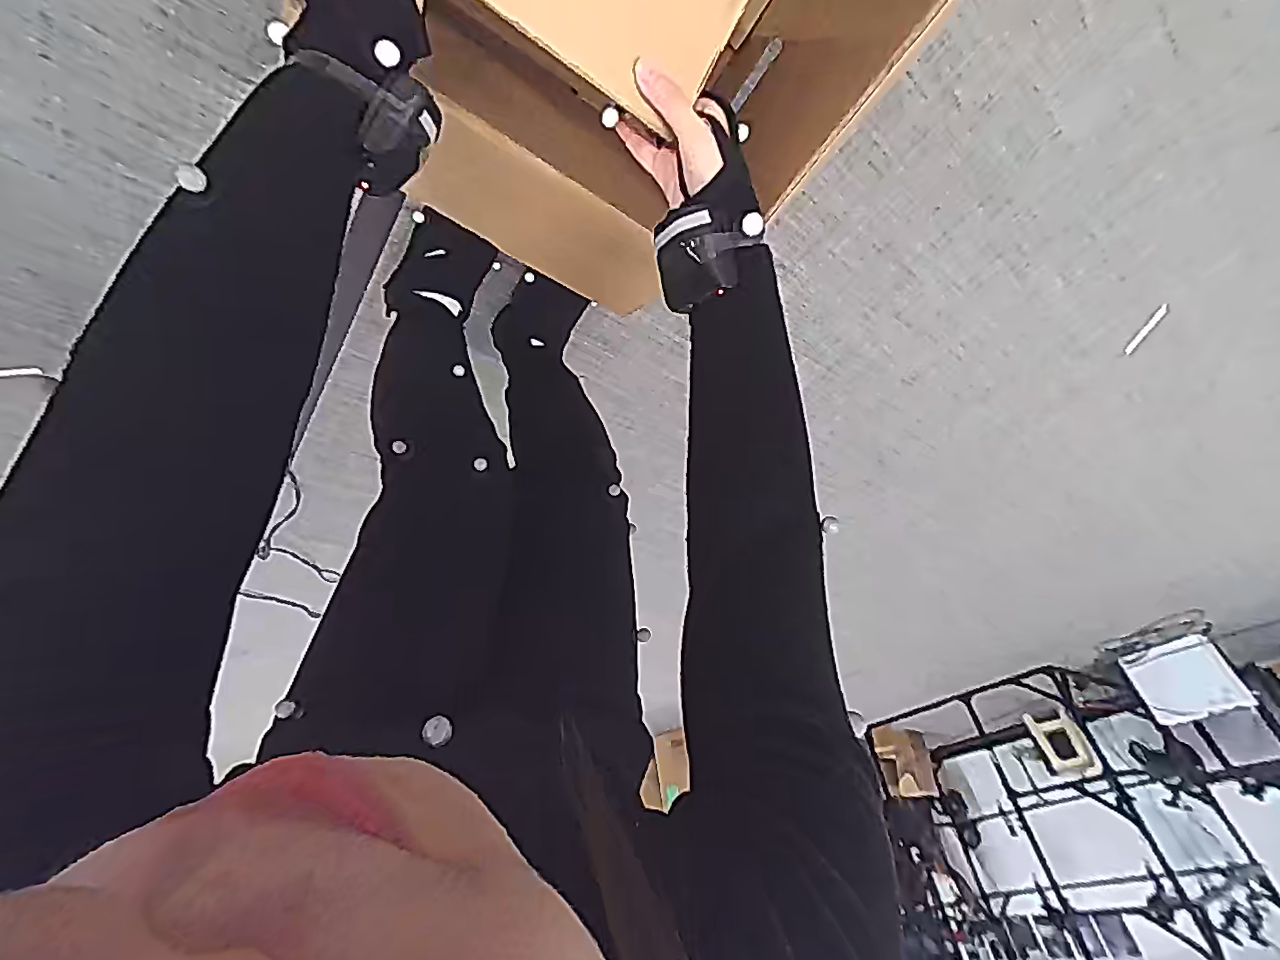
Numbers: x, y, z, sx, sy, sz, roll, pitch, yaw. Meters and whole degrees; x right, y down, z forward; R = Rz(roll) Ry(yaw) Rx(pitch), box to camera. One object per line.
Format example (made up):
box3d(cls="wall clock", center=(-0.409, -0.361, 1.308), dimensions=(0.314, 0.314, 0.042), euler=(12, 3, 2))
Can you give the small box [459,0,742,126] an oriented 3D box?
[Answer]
box3d(cls="small box", center=(-0.035, -0.372, 0.348), dimensions=(0.179, 0.176, 0.168), euler=(8, 125, -40))
